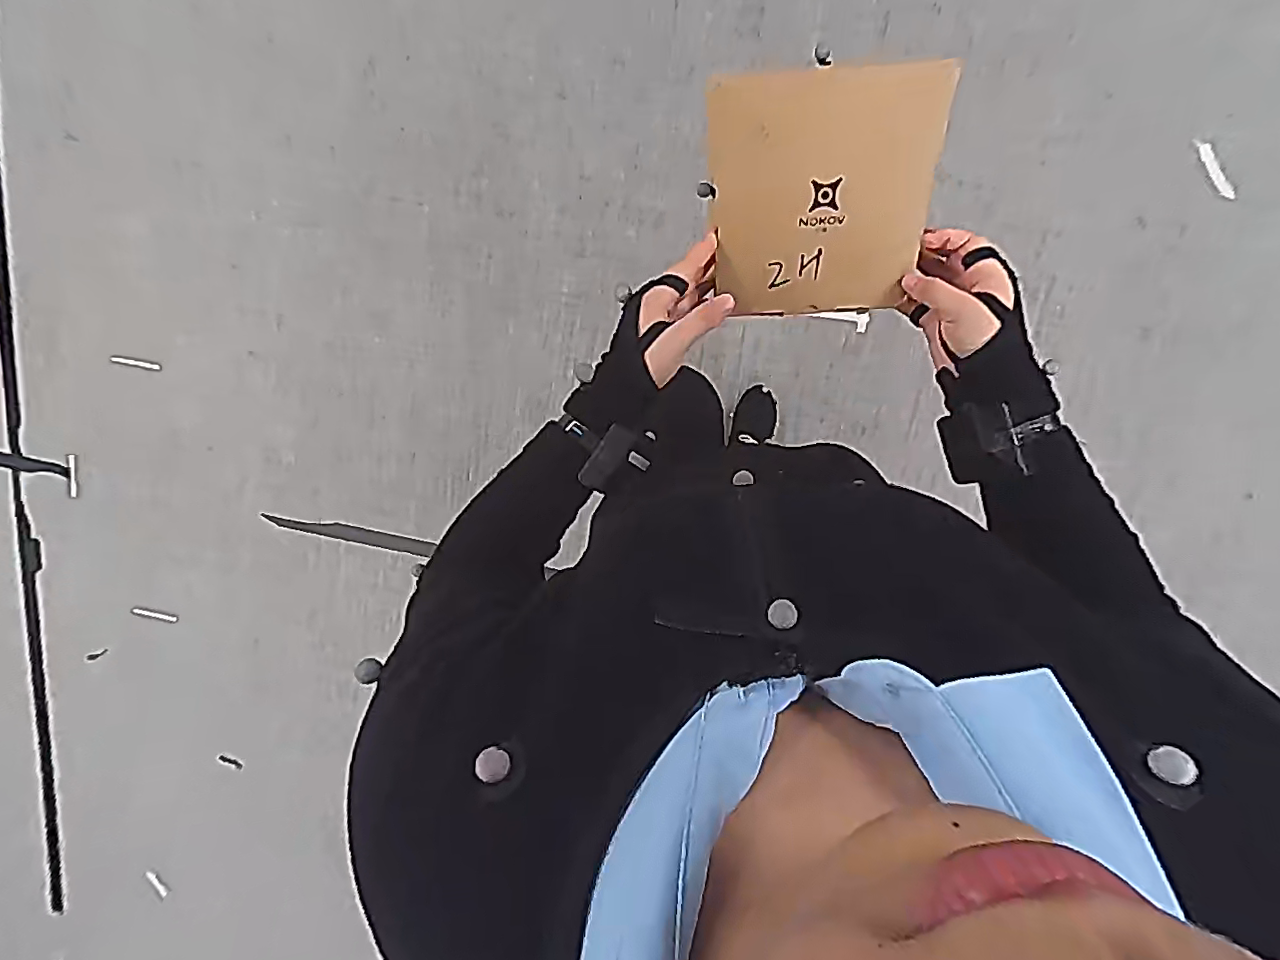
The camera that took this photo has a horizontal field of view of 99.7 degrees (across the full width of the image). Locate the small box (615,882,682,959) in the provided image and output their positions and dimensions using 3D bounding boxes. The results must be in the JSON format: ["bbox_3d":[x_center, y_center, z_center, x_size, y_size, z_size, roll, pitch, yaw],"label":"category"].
[{"bbox_3d":[0.024,1.257,1.477,0.168,0.176,0.179,6,101,5],"label":"small box"}]

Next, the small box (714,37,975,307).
[{"bbox_3d":[0.153,-0.272,0.480,0.168,0.176,0.179,-2,129,5],"label":"small box"}]
